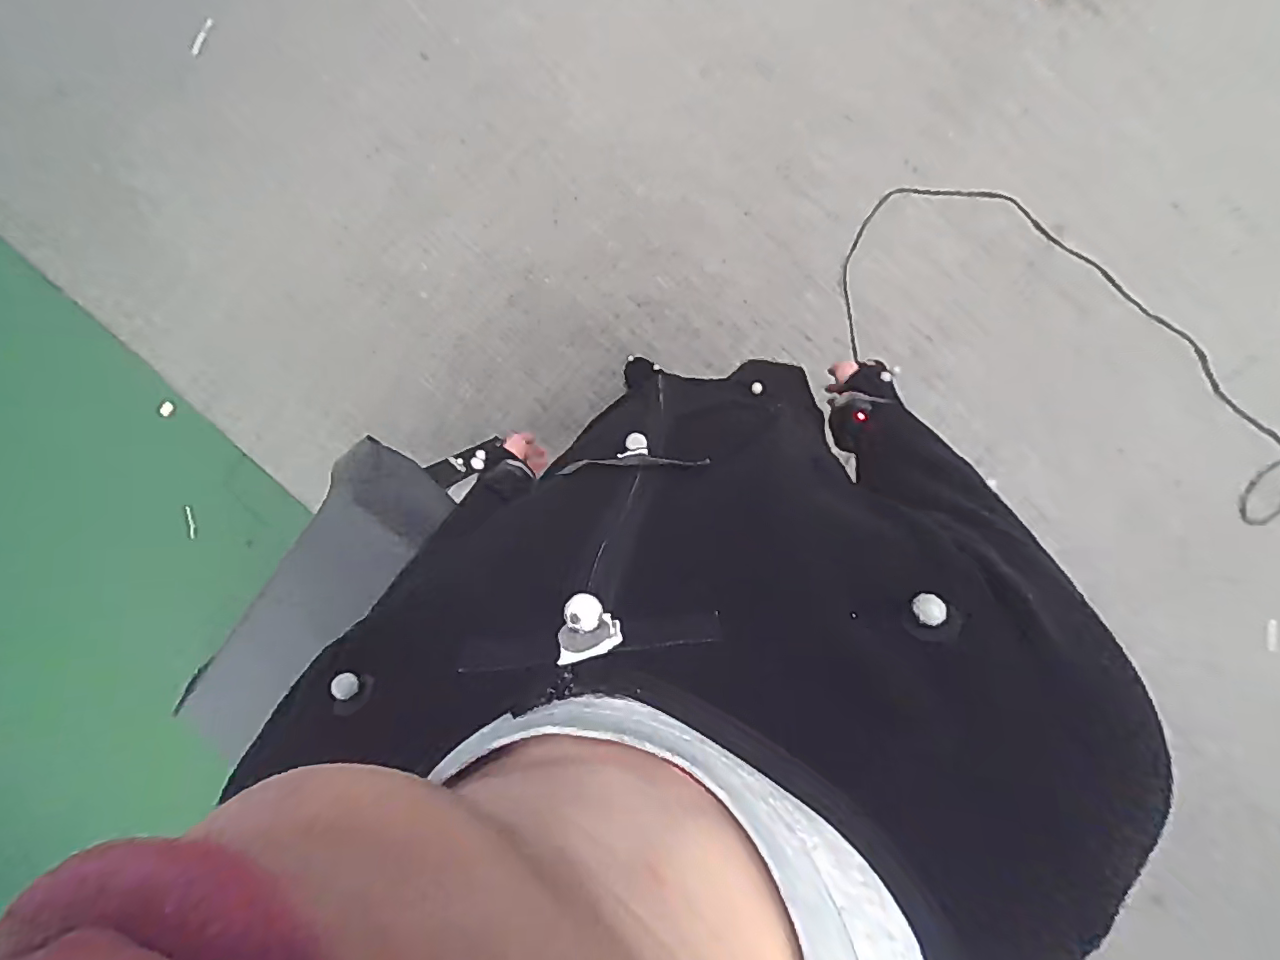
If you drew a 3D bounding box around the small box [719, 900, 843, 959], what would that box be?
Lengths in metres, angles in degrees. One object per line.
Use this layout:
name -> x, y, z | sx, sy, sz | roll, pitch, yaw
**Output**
small box -> 0.237, 0.854, 0.891 | 0.168, 0.176, 0.179 | 41, 107, 0
